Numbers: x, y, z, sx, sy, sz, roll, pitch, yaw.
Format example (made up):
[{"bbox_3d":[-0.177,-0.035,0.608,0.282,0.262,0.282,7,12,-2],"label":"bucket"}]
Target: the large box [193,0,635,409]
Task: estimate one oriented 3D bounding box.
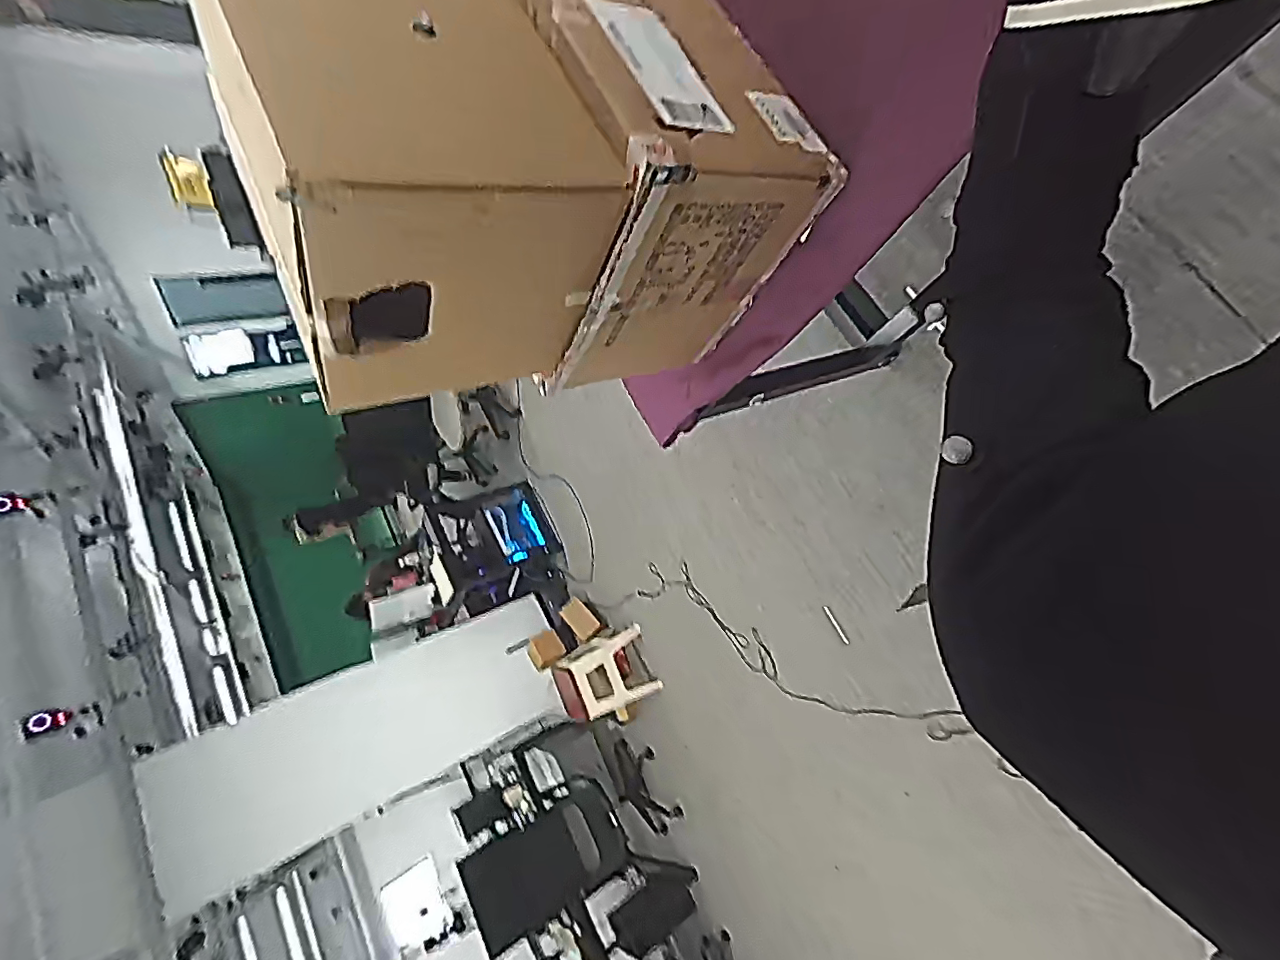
[{"bbox_3d":[-0.268,-0.357,0.633,0.408,0.320,0.320,61,148,15],"label":"large box"}]
